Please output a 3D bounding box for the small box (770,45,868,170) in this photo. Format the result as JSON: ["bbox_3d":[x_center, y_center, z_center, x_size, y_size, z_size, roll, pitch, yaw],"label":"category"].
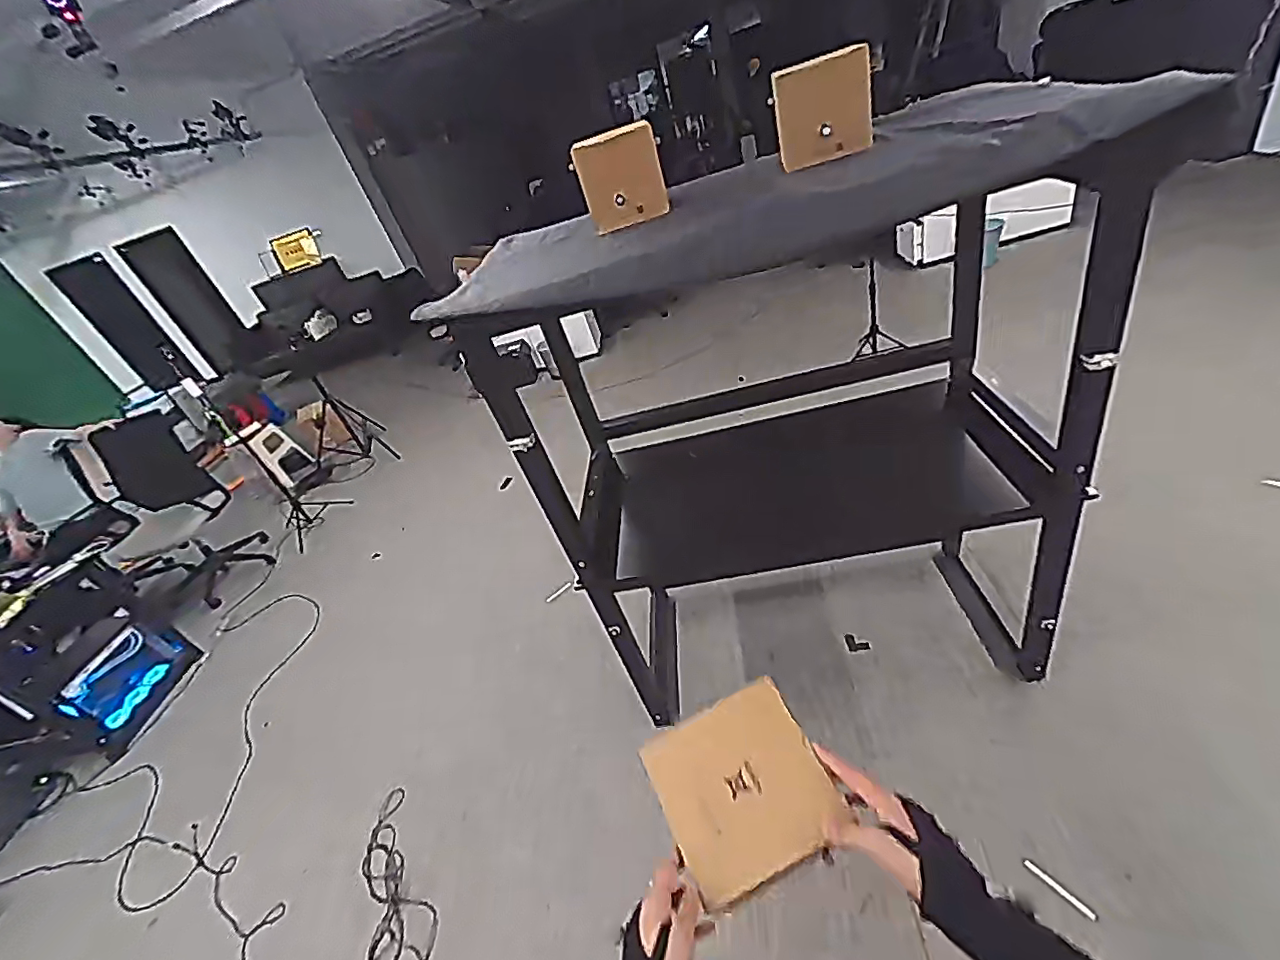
[{"bbox_3d":[0.360,-0.750,1.096,0.168,0.176,0.179,-9,36,17],"label":"small box"}]

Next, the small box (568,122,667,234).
[{"bbox_3d":[-0.046,-0.649,1.165,0.168,0.176,0.179,-16,35,6],"label":"small box"}]
